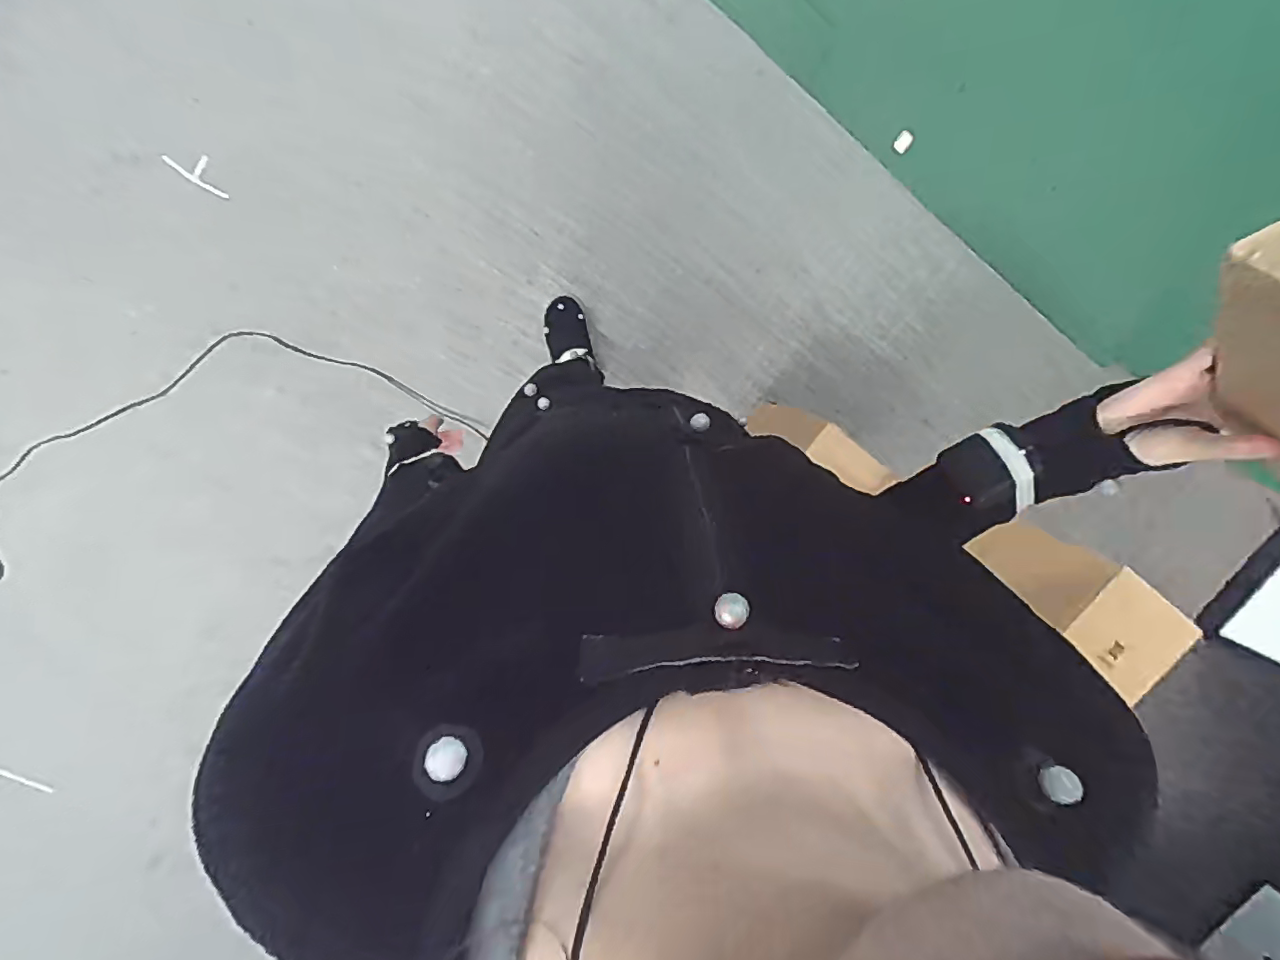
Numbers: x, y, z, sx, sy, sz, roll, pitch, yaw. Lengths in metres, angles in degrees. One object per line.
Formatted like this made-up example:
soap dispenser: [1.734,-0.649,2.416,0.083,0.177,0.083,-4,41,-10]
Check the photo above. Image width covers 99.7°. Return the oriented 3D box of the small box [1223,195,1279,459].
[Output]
small box: [0.438,-0.072,0.255,0.168,0.179,0.176,-27,131,26]

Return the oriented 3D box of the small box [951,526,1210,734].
small box: [0.570,0.188,0.726,0.168,0.176,0.179,34,98,-12]
